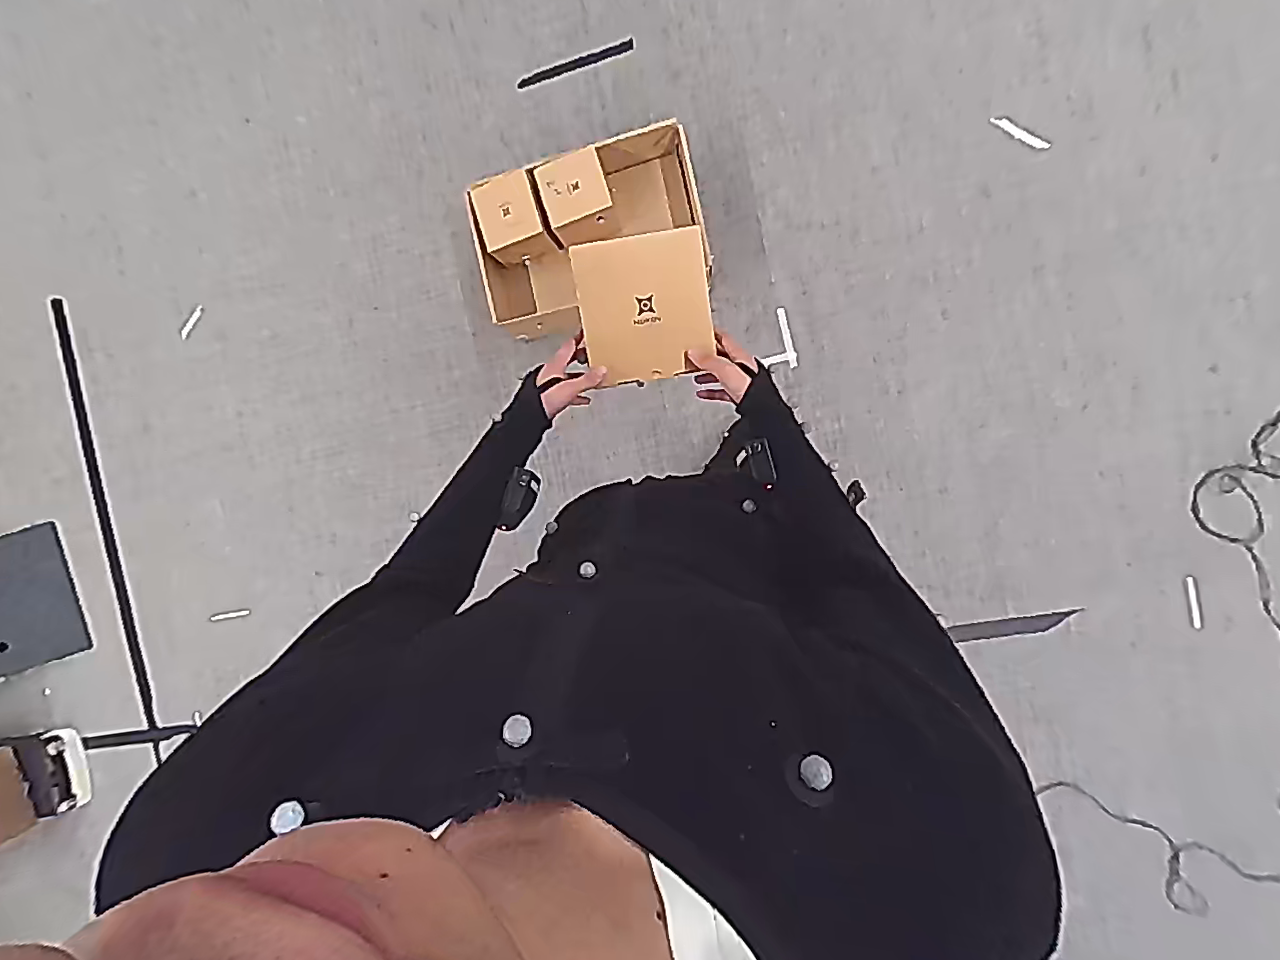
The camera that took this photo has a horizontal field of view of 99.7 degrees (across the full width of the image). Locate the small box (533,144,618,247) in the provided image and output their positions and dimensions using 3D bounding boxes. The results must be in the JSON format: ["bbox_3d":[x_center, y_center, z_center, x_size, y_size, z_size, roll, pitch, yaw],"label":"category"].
[{"bbox_3d":[-0.166,-0.769,1.480,0.179,0.176,0.168,-18,91,8],"label":"small box"}]

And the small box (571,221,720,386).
[{"bbox_3d":[0.002,-0.232,0.743,0.168,0.176,0.179,-11,104,-2],"label":"small box"}]
